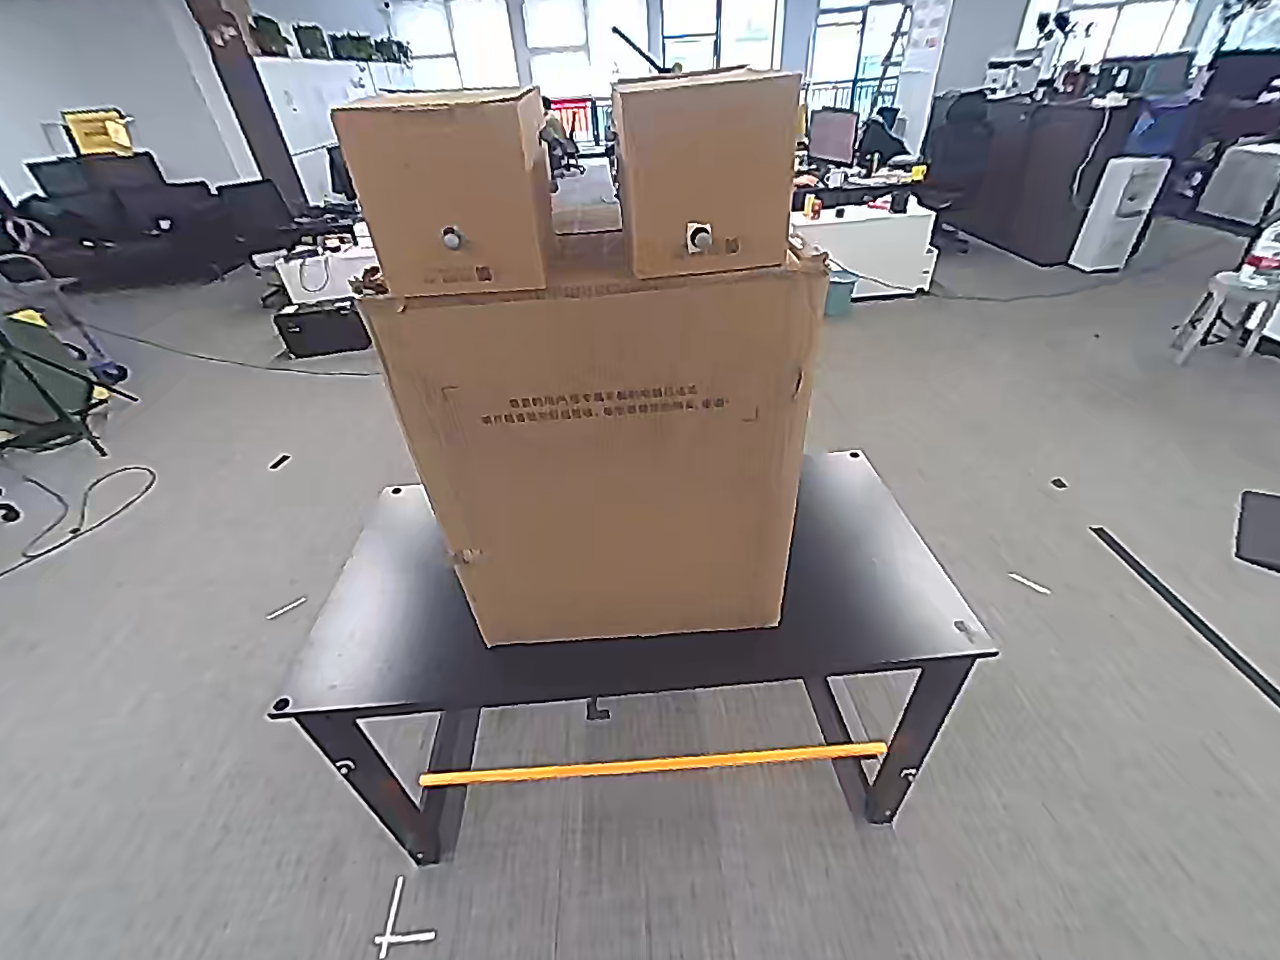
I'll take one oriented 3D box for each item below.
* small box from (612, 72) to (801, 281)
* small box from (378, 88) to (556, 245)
[{"bbox_3d":[0.062,-0.332,0.592,0.168,0.176,0.179,-8,39,-1],"label":"small box"},{"bbox_3d":[-0.221,-0.429,0.743,0.179,0.176,0.168,-3,36,0],"label":"small box"}]
